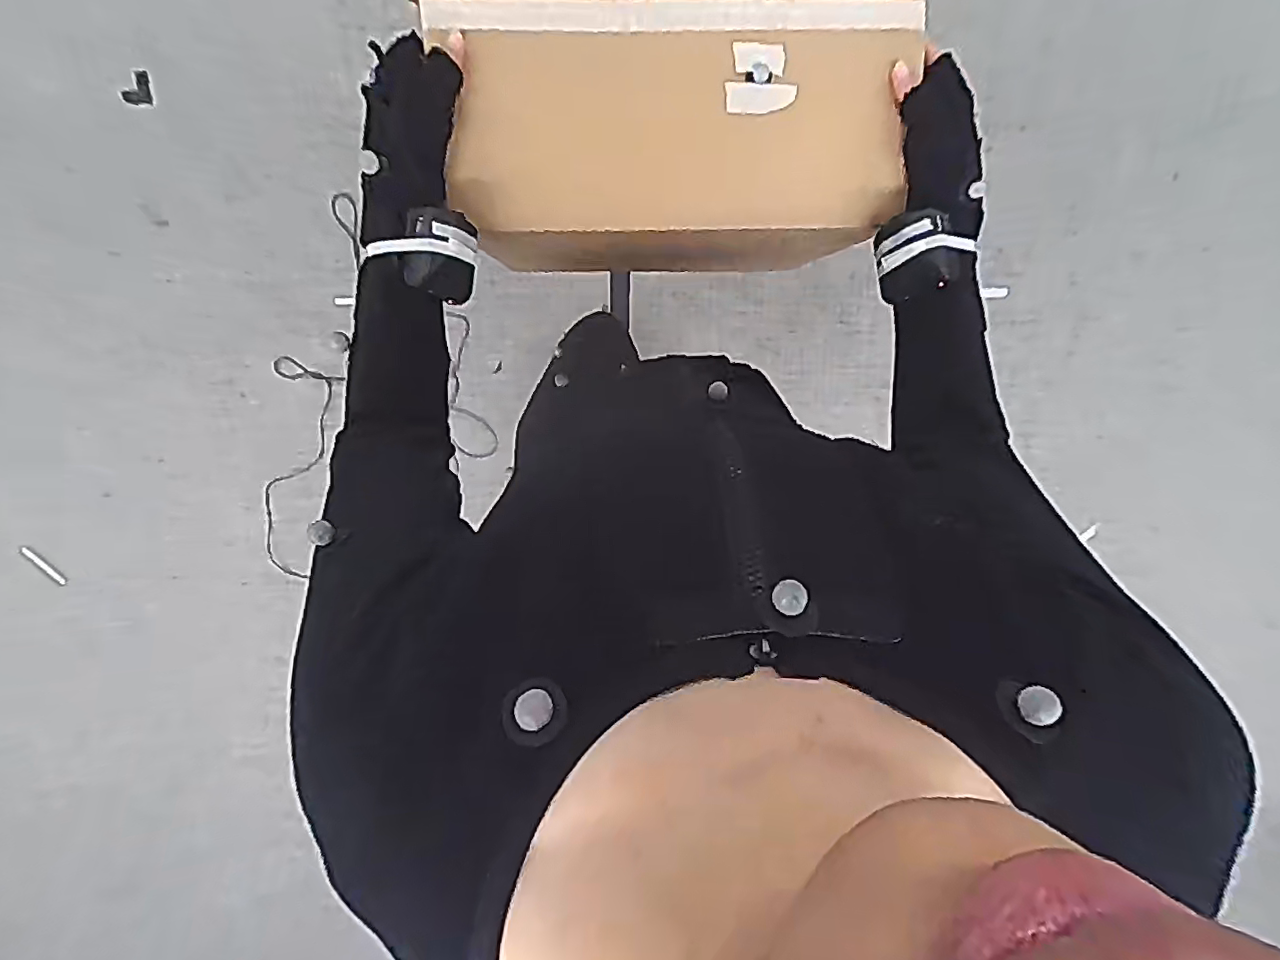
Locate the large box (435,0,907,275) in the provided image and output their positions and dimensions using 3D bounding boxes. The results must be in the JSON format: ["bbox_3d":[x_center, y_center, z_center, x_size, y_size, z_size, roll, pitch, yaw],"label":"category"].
[{"bbox_3d":[0.020,-0.415,0.600,0.408,0.320,0.320,-2,105,-3],"label":"large box"}]
